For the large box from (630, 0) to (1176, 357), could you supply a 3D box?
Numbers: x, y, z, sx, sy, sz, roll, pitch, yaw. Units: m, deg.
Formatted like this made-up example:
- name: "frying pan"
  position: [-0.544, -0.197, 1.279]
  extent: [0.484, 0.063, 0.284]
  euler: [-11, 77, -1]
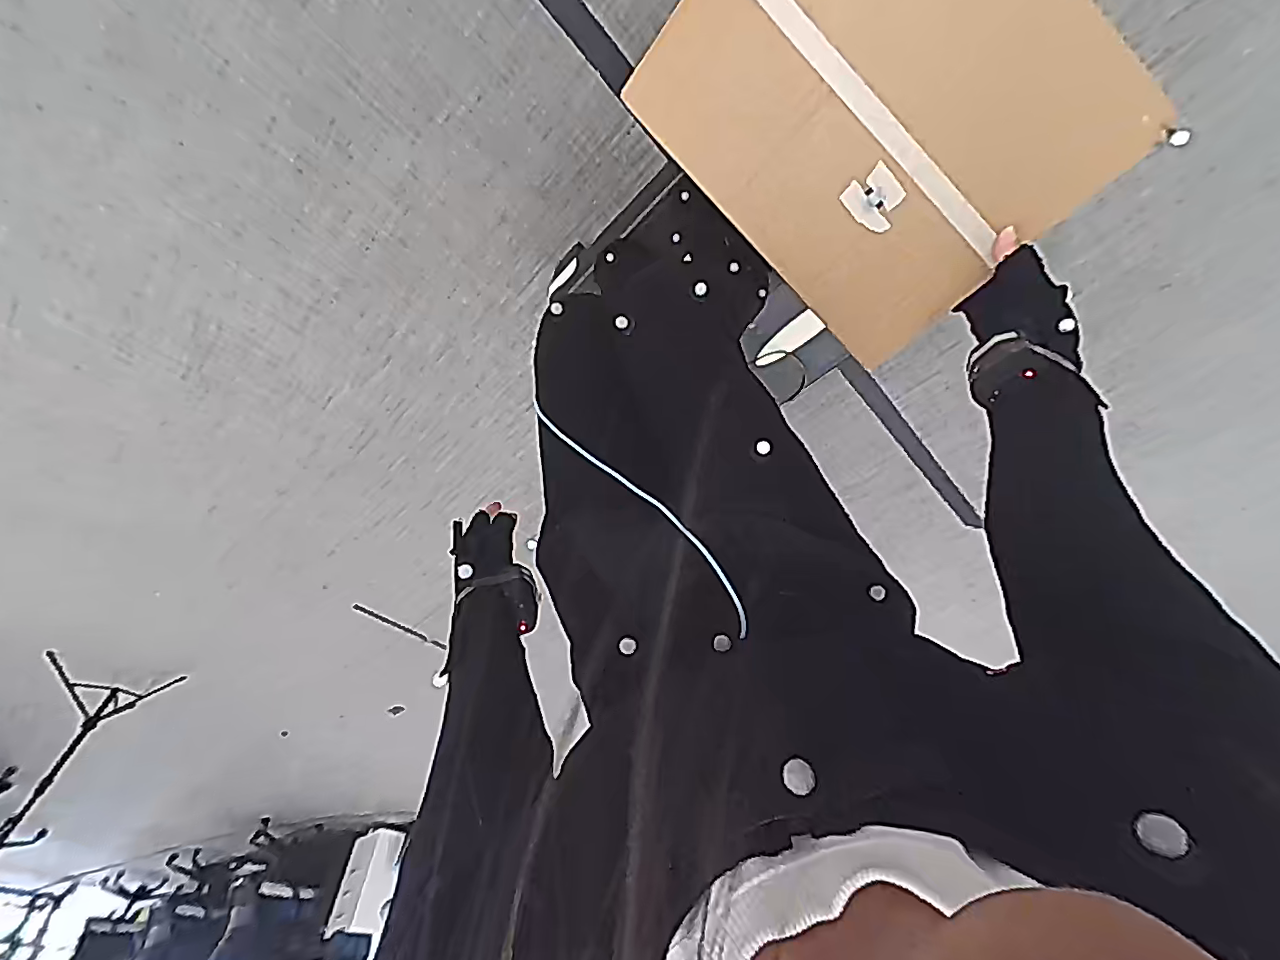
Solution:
- name: "large box"
  position: [0.266, -0.422, 0.648]
  extent: [0.408, 0.320, 0.320]
  euler: [46, 121, -5]
